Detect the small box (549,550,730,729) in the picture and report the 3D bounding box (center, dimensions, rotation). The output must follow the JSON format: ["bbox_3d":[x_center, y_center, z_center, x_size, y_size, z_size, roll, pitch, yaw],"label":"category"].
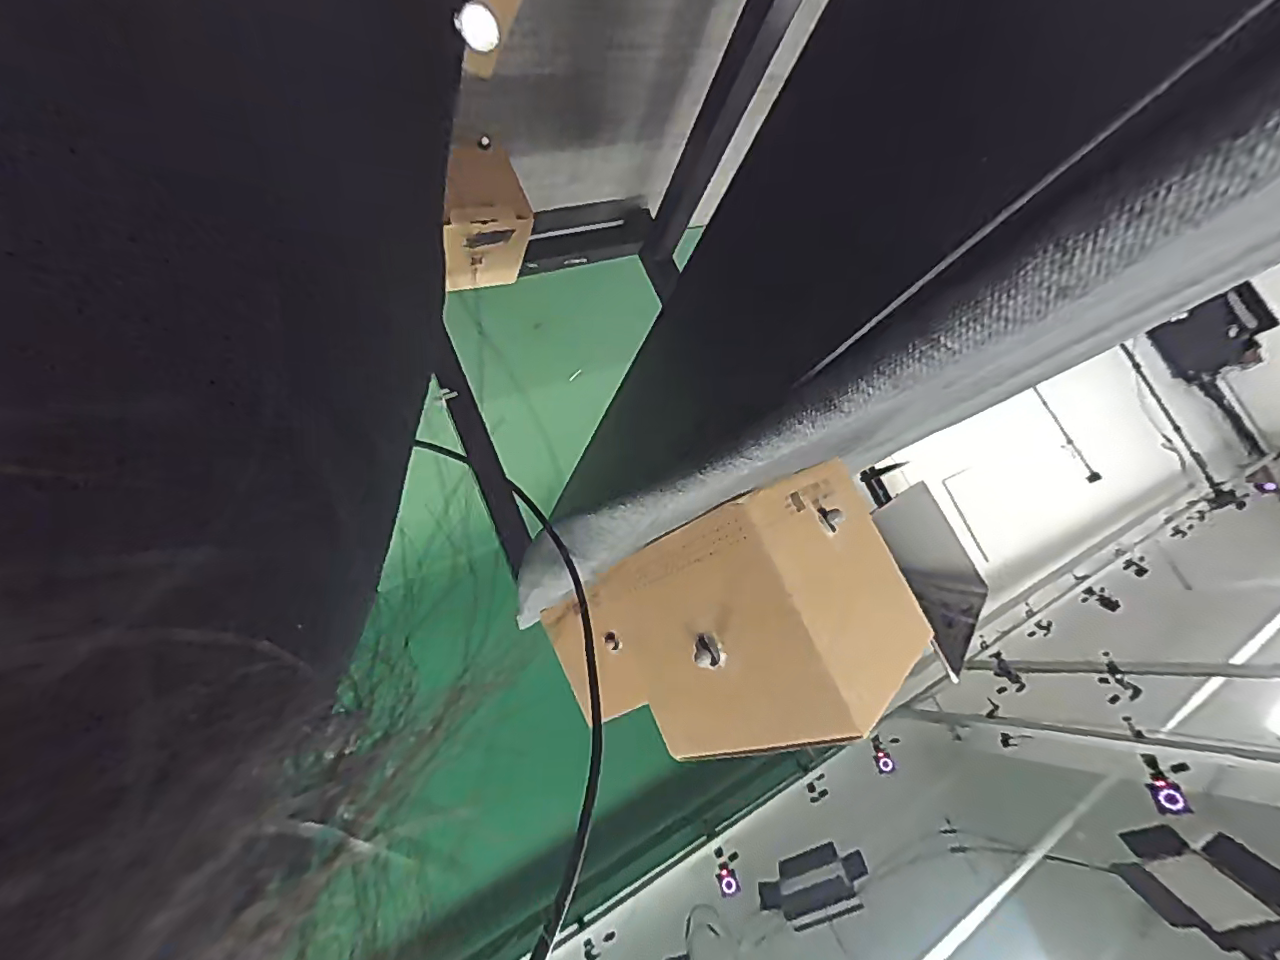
[{"bbox_3d":[0.000,0.214,0.768,0.168,0.176,0.179,-31,169,20],"label":"small box"}]

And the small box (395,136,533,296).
[{"bbox_3d":[-0.299,-0.440,0.903,0.168,0.176,0.179,-19,170,-28],"label":"small box"}]
